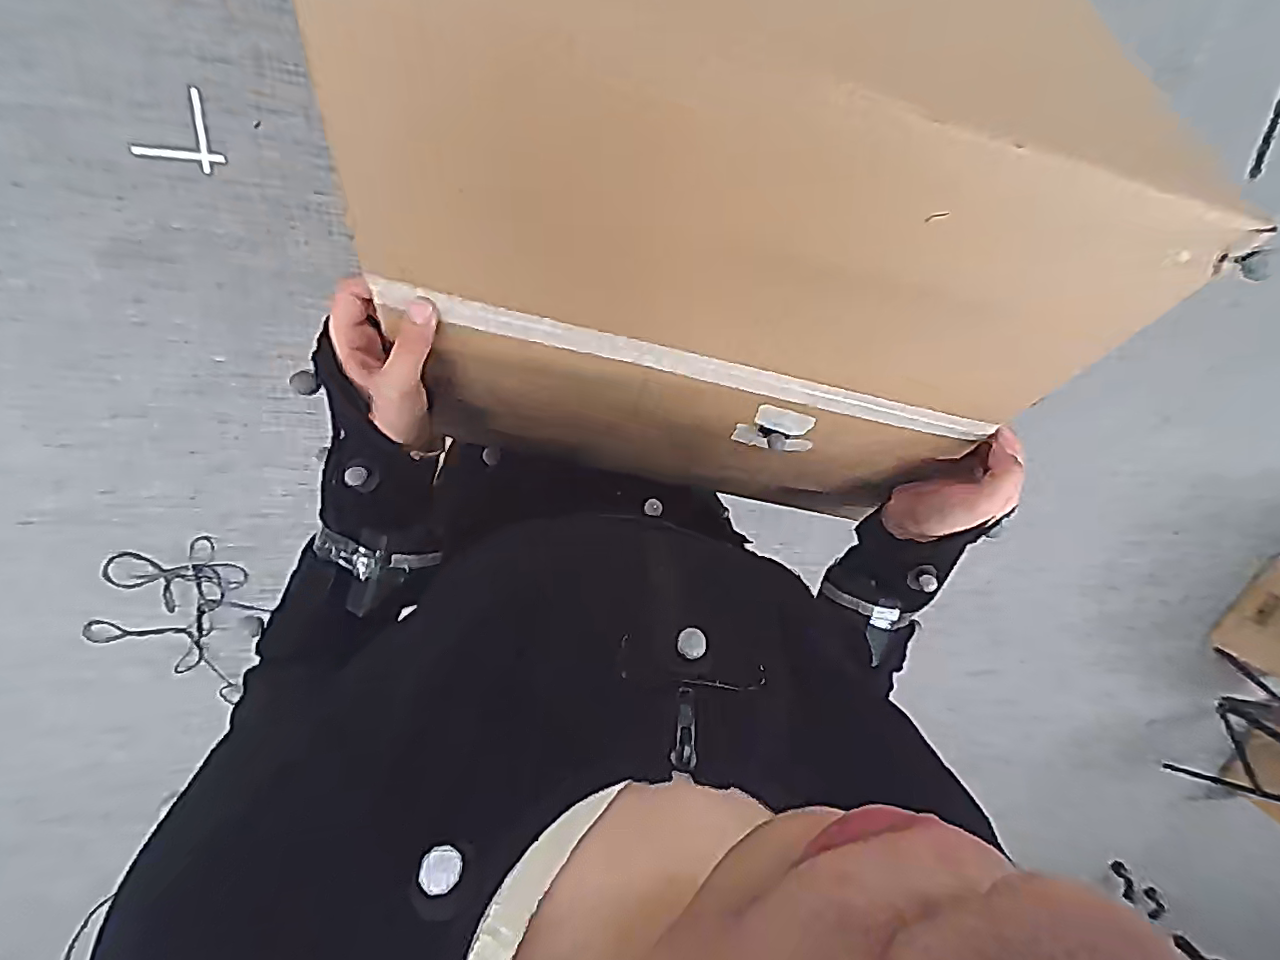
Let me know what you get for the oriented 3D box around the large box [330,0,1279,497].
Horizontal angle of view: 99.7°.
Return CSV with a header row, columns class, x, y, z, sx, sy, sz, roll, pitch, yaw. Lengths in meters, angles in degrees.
class,x,y,z,sx,sy,sz,roll,pitch,yaw
large box,0.070,-0.220,0.383,0.408,0.320,0.320,11,151,-9
